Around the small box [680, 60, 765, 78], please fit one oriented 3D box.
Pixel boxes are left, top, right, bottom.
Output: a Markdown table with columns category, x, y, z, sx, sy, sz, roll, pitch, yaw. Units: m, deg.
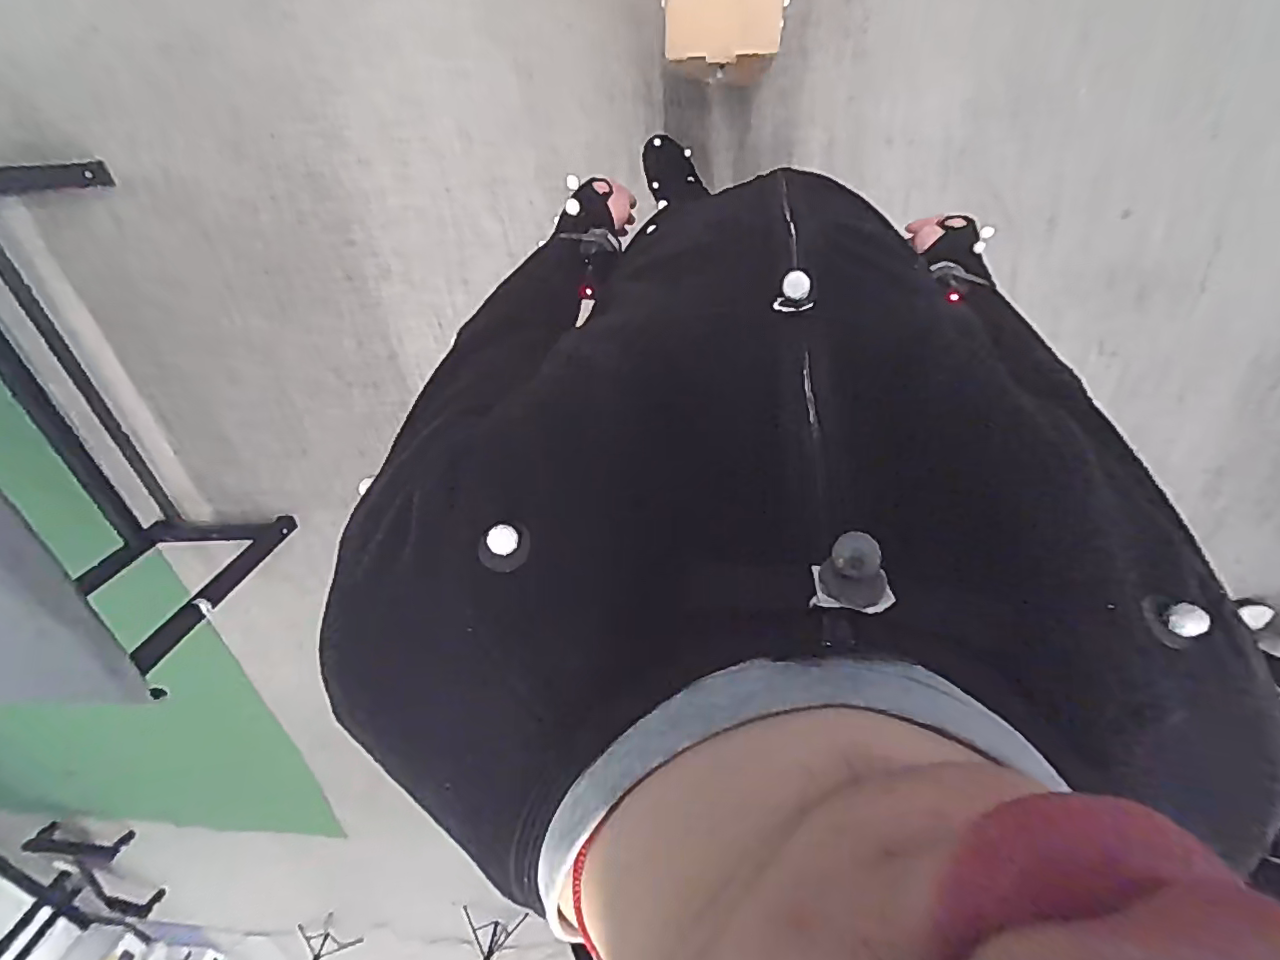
| category | x | y | z | sx | sy | sz | roll | pitch | yaw |
| --- | --- | --- | --- | --- | --- | --- | --- | --- | --- |
| small box | 0.151 | -0.828 | 0.943 | 0.168 | 0.176 | 0.179 | 11 | 124 | 0 |

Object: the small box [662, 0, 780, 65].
| category | x | y | z | sx | sy | sz | roll | pitch | yaw |
| --- | --- | --- | --- | --- | --- | --- | --- | --- | --- |
| small box | 0.125 | -0.738 | 0.811 | 0.168 | 0.176 | 0.179 | 4 | 123 | 5 |

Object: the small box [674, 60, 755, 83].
| category | x | y | z | sx | sy | sz | roll | pitch | yaw |
| --- | --- | --- | --- | --- | --- | --- | --- | --- | --- |
| small box | 0.165 | -0.918 | 1.081 | 0.168 | 0.176 | 0.179 | 10 | 124 | 1 |
